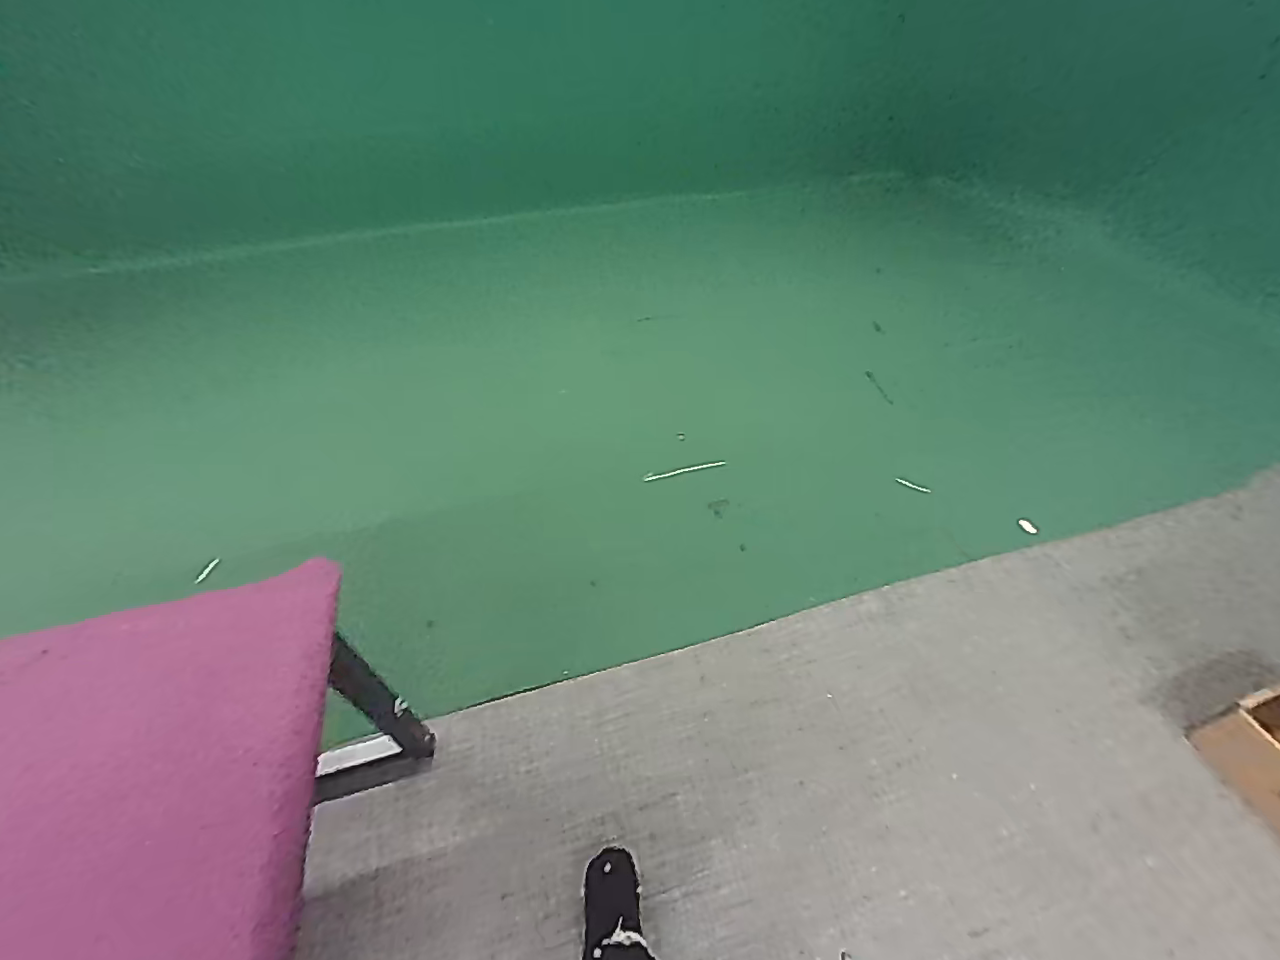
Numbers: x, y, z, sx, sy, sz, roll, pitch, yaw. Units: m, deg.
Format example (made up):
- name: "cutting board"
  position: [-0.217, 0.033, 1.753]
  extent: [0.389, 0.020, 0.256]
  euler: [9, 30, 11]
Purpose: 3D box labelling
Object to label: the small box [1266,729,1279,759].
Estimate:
- name: "small box"
  position: [1.605, 0.613, 1.215]
  extent: [0.179, 0.176, 0.168]
  euler: [-13, 49, -11]
